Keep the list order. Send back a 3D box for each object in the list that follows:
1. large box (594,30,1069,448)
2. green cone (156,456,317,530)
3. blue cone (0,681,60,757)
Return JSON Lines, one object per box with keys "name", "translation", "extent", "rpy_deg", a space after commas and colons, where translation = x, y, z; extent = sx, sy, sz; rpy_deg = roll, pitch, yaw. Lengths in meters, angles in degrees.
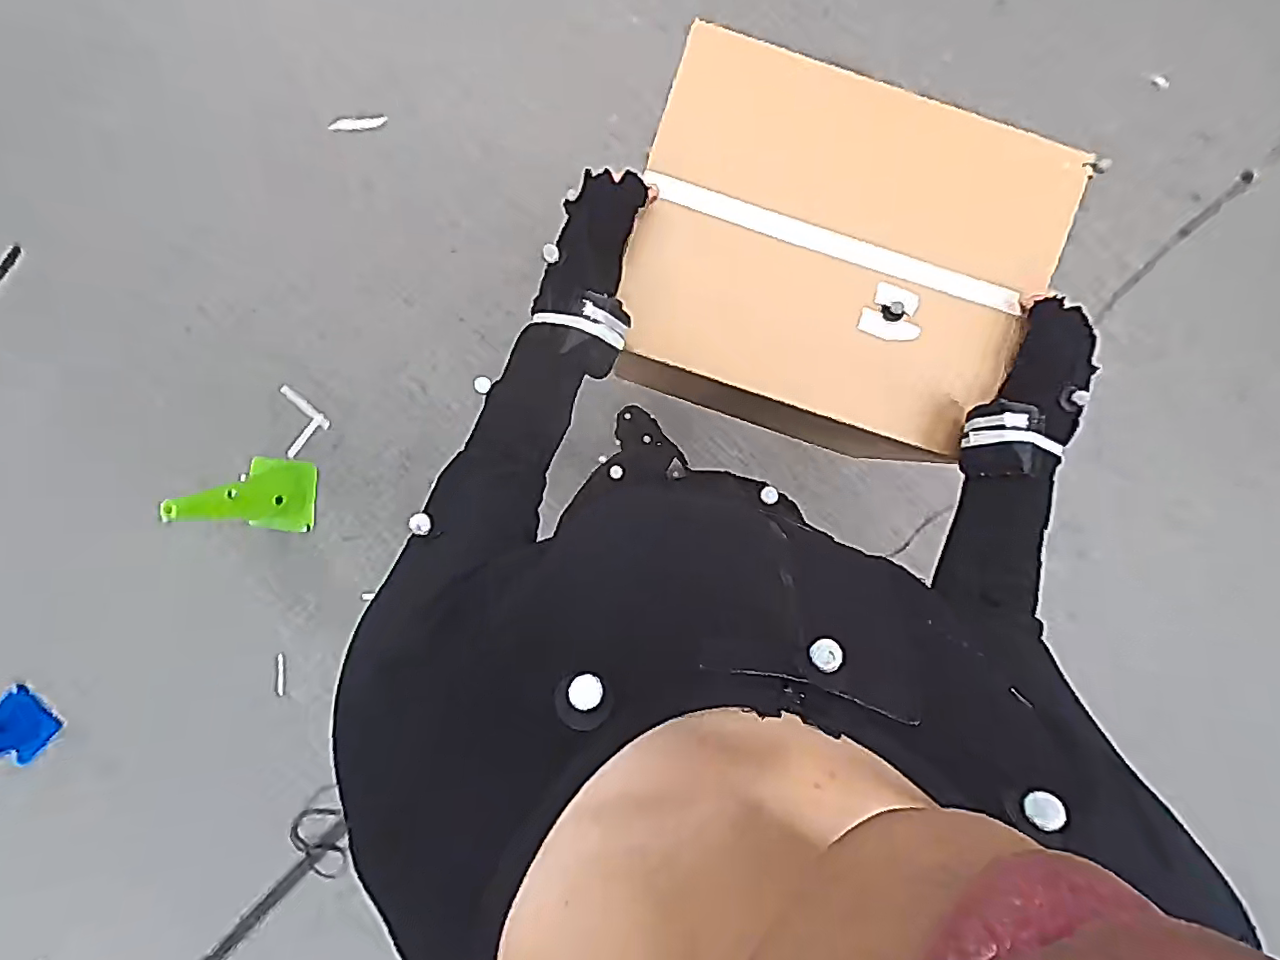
{"name": "large box", "translation": [0.183, -0.241, 0.676], "extent": [0.408, 0.320, 0.320], "rpy_deg": [17, 94, -1]}
{"name": "green cone", "translation": [-1.043, 0.047, 1.386], "extent": [0.202, 0.368, 0.200], "rpy_deg": [6, 93, 5]}
{"name": "blue cone", "translation": [-1.920, 0.752, 1.511], "extent": [0.193, 0.380, 0.192], "rpy_deg": [-43, 89, 5]}
